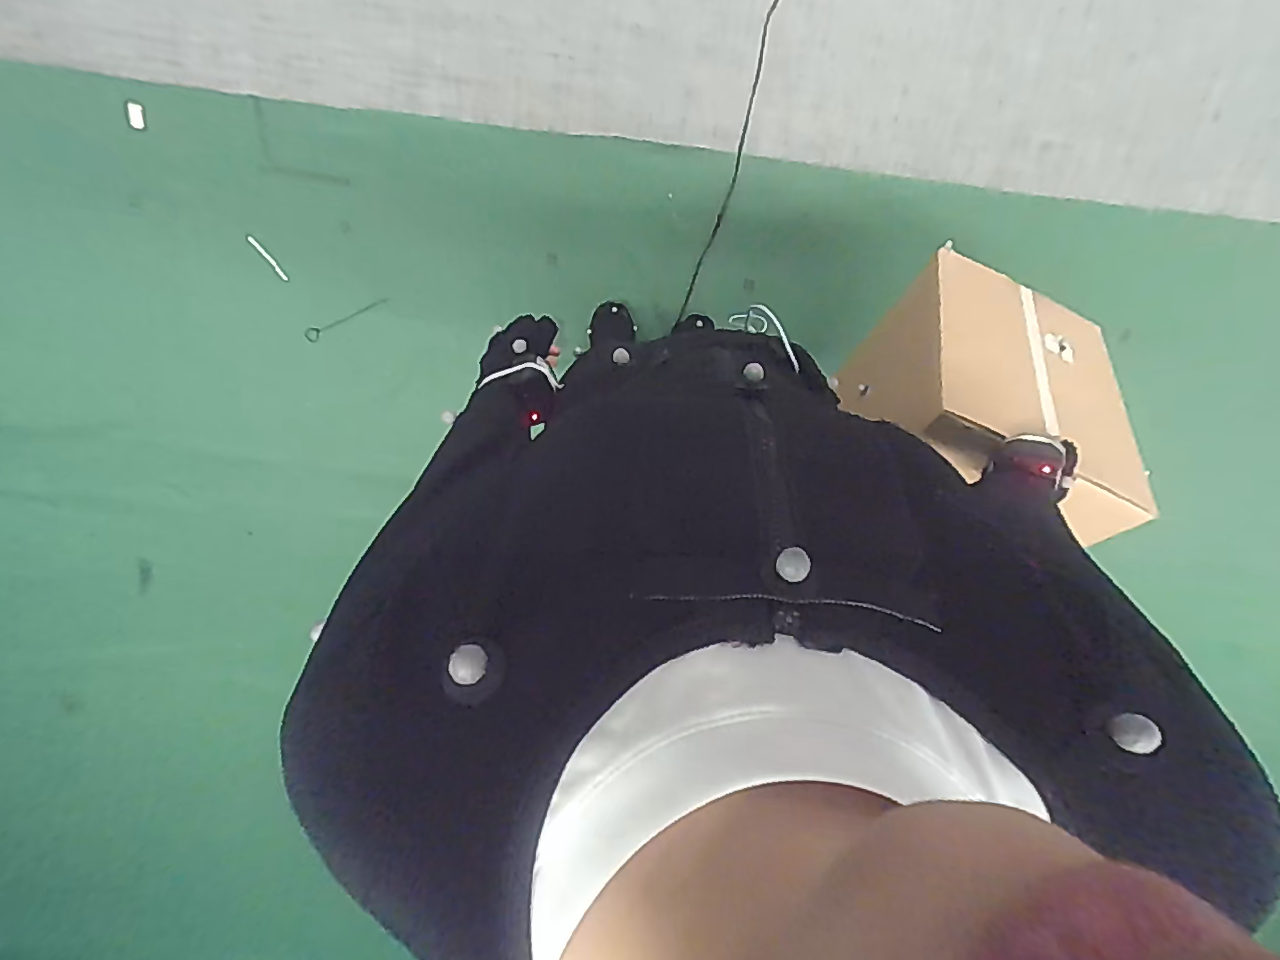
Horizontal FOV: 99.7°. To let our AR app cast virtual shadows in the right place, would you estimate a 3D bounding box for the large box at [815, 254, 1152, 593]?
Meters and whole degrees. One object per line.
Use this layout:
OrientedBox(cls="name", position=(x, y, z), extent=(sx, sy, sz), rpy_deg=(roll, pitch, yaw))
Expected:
OrientedBox(cls="large box", position=(0.523, -0.088, 0.906), extent=(0.320, 0.408, 0.320), rpy_deg=(25, 143, -4))
